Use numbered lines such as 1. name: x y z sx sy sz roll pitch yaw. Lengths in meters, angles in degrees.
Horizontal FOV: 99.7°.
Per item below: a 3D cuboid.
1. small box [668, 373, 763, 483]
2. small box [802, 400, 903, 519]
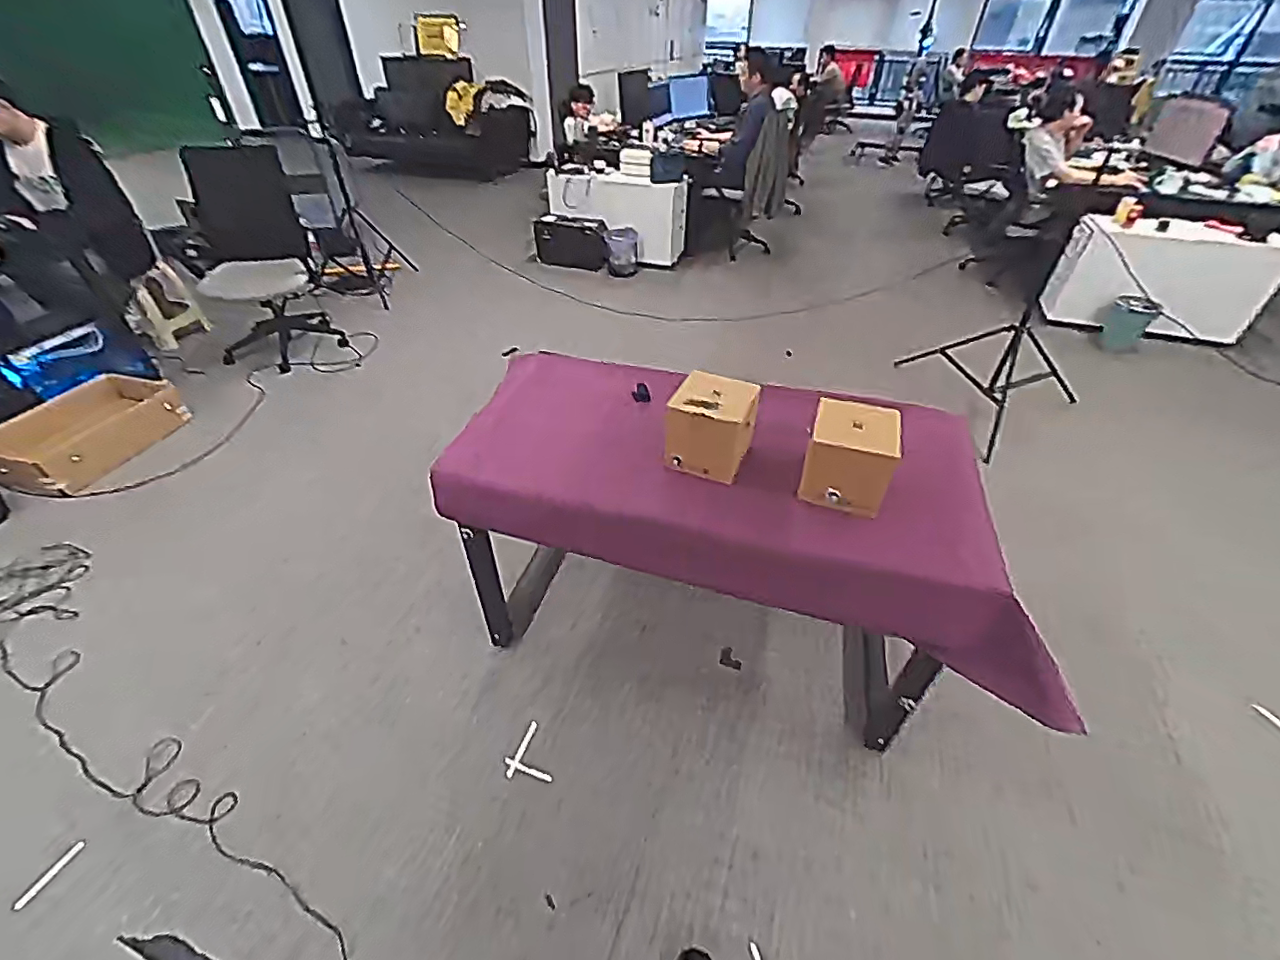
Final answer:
1. small box: 0.170 -0.119 1.239 0.168 0.176 0.179 17 42 18
2. small box: 0.453 -0.045 1.161 0.168 0.176 0.179 13 42 15
